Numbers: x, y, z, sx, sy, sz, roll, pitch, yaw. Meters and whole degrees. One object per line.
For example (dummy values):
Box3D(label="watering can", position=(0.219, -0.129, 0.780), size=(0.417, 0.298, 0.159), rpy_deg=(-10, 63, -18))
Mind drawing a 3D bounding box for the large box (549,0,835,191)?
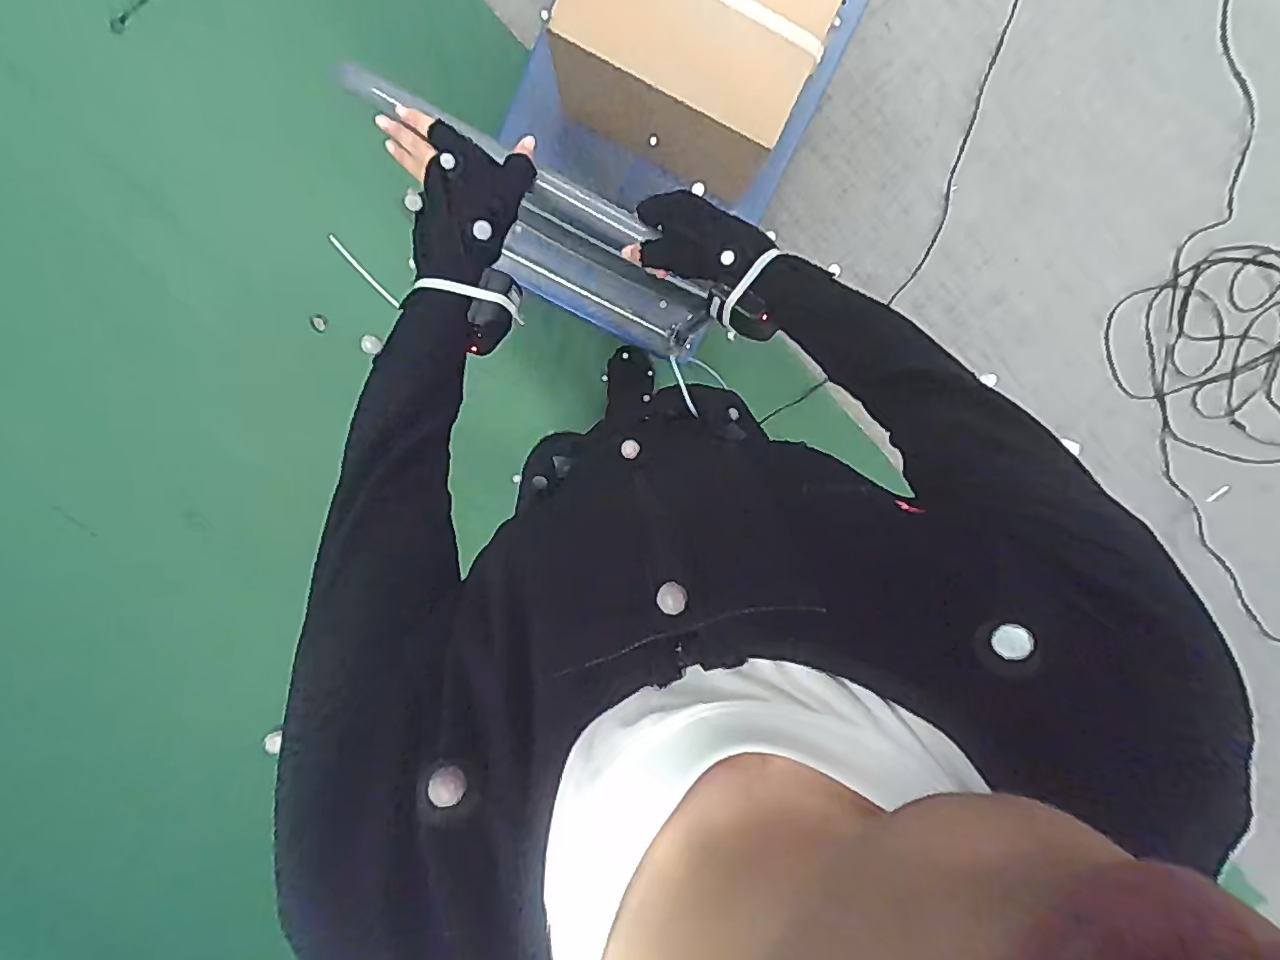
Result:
Box3D(label="large box", position=(0.096, -0.800, 0.981), size=(0.408, 0.320, 0.320), rpy_deg=(24, 100, -6))
